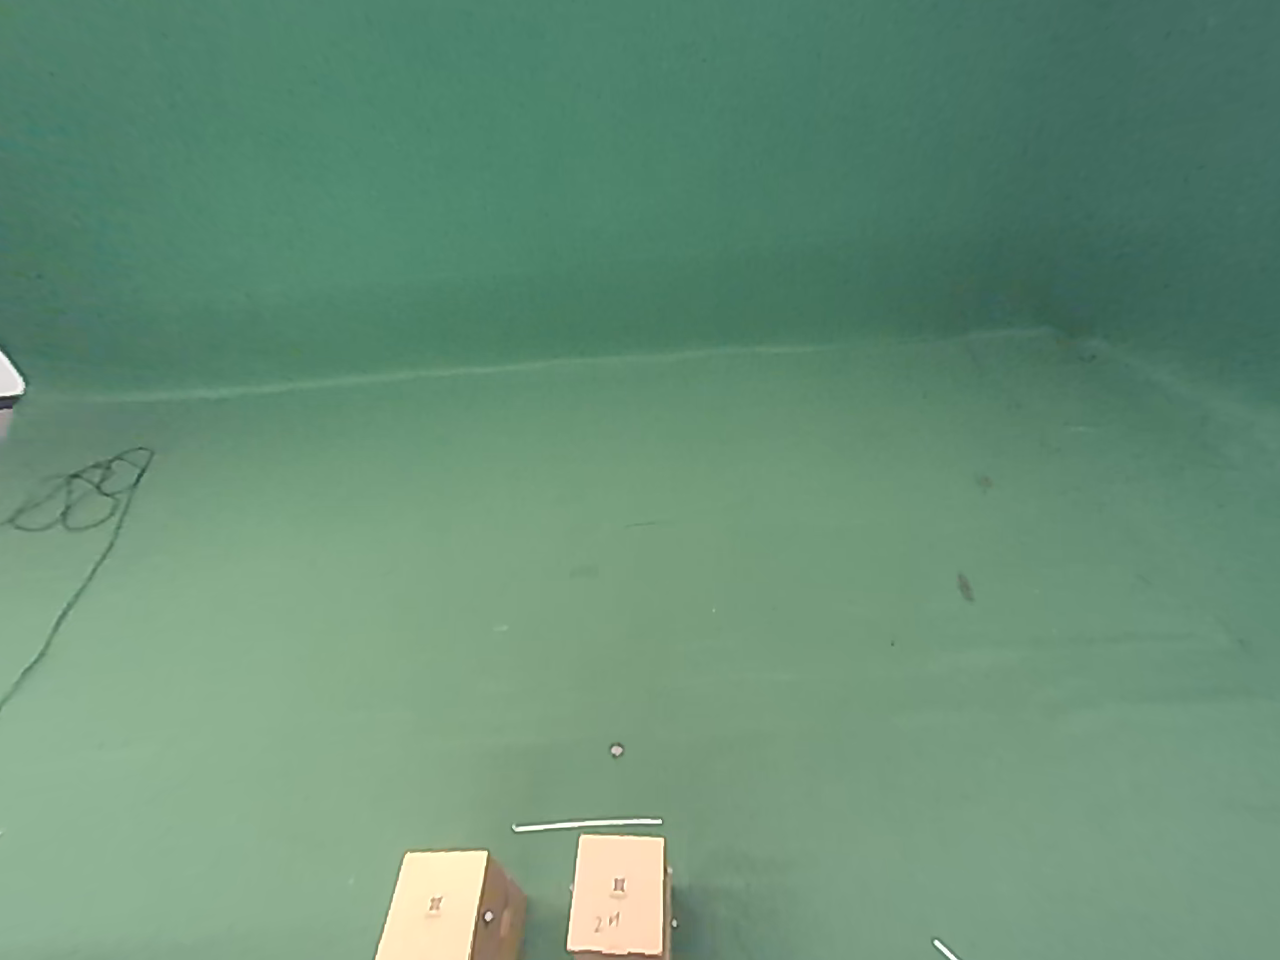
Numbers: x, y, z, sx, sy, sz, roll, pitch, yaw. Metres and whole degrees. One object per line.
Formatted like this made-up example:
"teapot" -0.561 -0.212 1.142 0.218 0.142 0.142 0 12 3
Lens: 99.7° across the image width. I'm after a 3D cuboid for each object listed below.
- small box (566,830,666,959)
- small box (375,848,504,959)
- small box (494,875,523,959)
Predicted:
"small box" -0.036 0.799 1.033 0.168 0.176 0.179 -1 41 5
"small box" -0.368 0.833 1.033 0.168 0.176 0.179 -4 41 3
"small box" -0.357 0.955 1.141 0.179 0.176 0.168 -4 40 3
